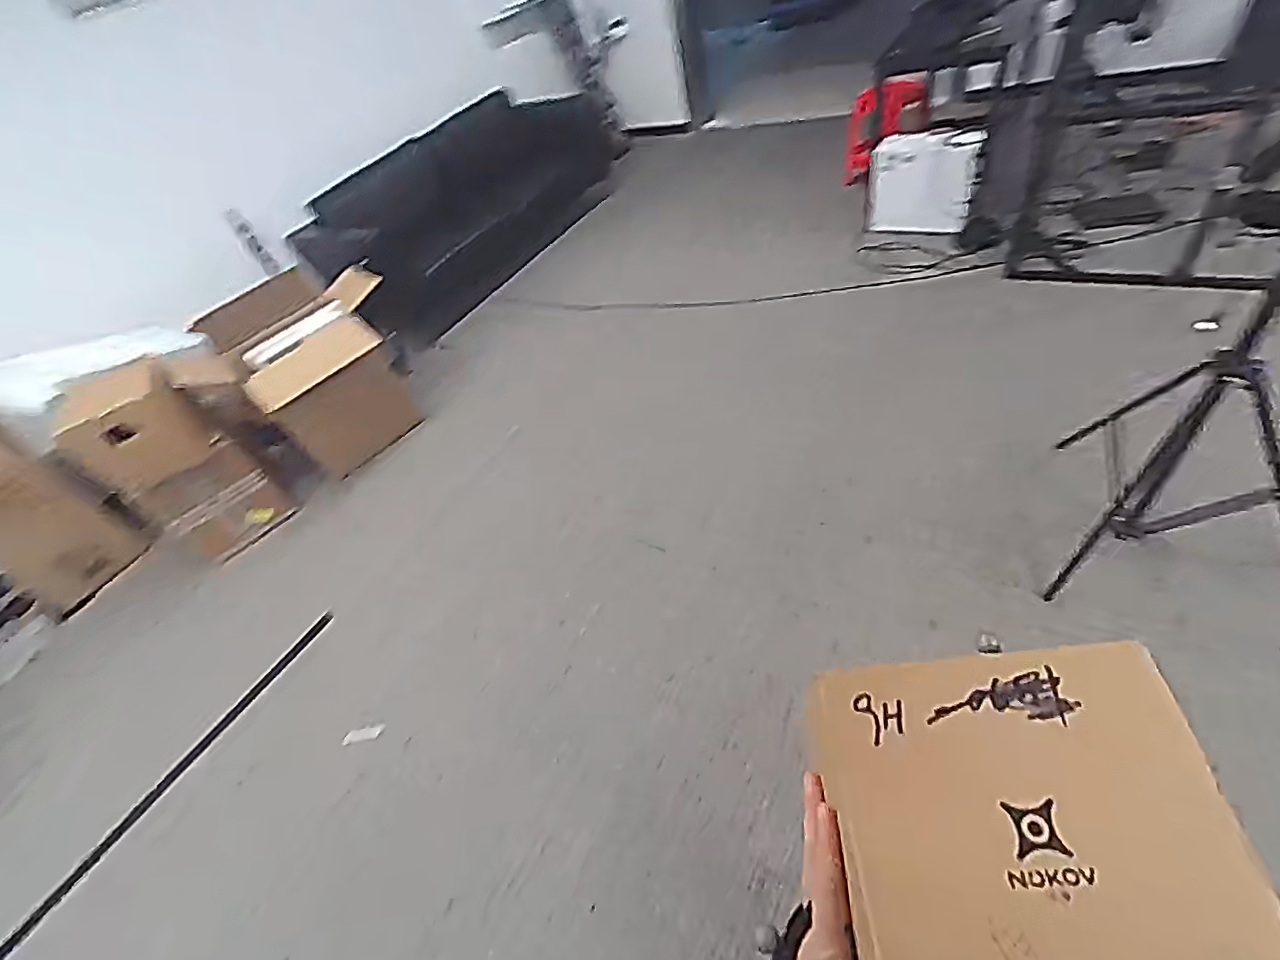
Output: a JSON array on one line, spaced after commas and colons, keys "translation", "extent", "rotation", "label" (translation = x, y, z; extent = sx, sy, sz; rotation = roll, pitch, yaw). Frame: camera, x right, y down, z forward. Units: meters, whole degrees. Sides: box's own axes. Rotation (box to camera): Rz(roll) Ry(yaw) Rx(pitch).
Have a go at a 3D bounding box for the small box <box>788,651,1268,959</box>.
[{"translation": [0.190, 0.211, 0.321], "extent": [0.168, 0.176, 0.179], "rotation": [-9, 62, 6], "label": "small box"}]
